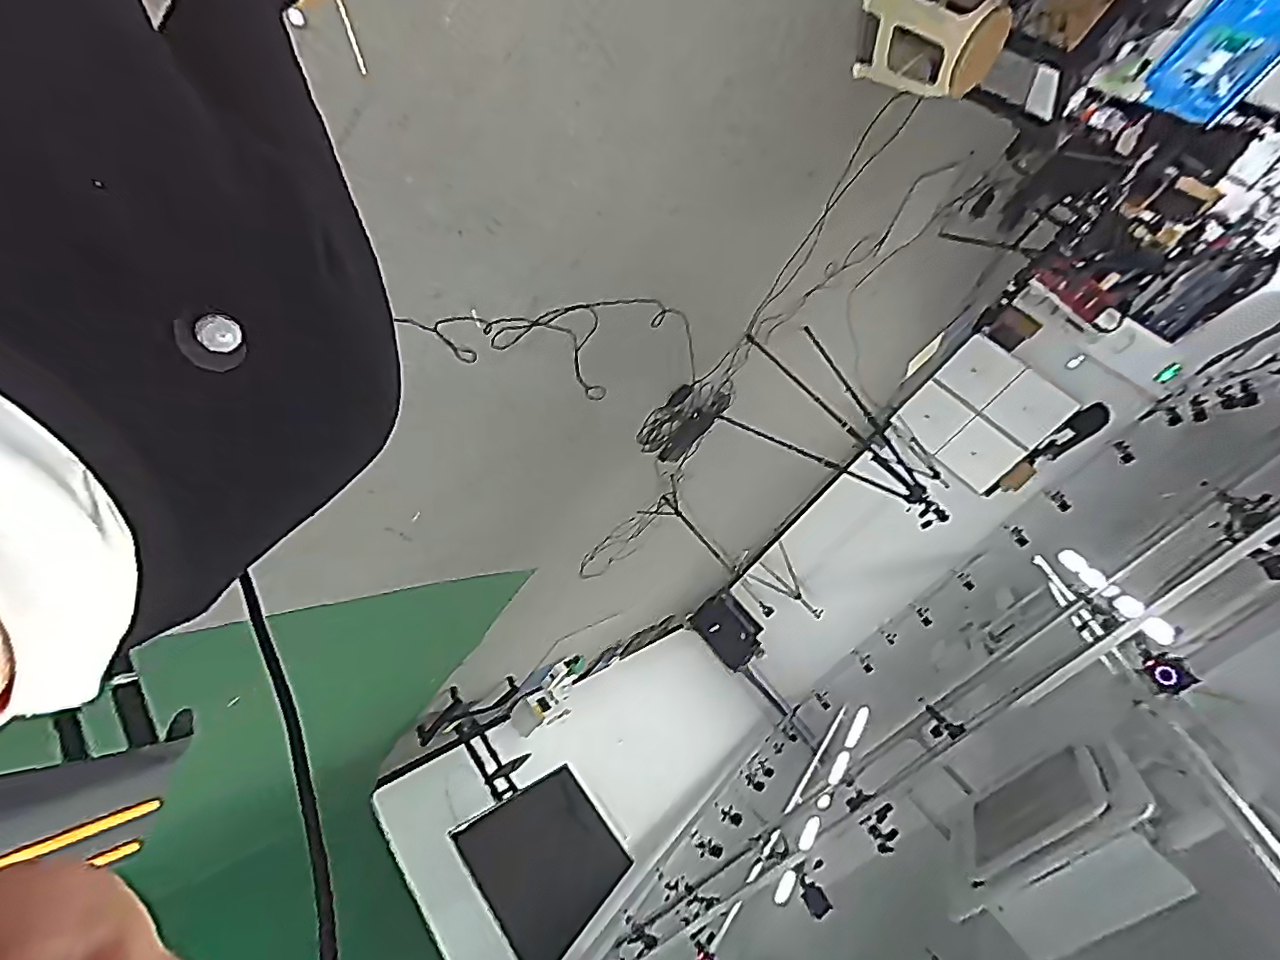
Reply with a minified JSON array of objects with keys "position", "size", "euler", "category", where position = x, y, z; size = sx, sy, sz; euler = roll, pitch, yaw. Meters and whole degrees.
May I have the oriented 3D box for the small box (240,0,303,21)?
[{"position":[-0.422,-0.656,0.580],"size":[0.168,0.176,0.179],"euler":[22,79,-57],"category":"small box"}]
